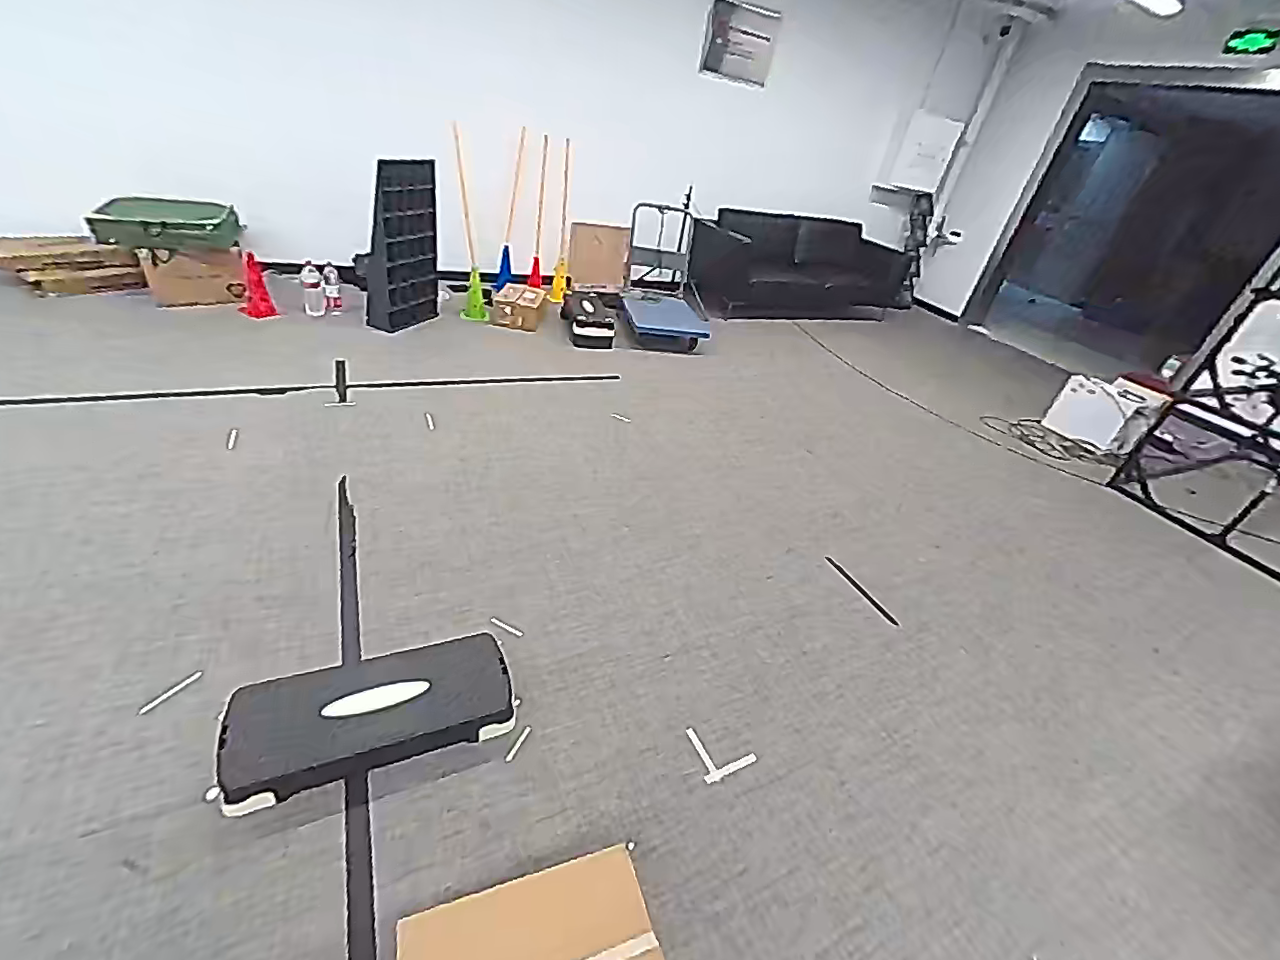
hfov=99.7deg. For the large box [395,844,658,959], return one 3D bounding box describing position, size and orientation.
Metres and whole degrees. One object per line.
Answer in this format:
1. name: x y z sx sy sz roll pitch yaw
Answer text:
1. large box: -0.190 0.919 0.925 0.408 0.320 0.320 -3 36 -23
